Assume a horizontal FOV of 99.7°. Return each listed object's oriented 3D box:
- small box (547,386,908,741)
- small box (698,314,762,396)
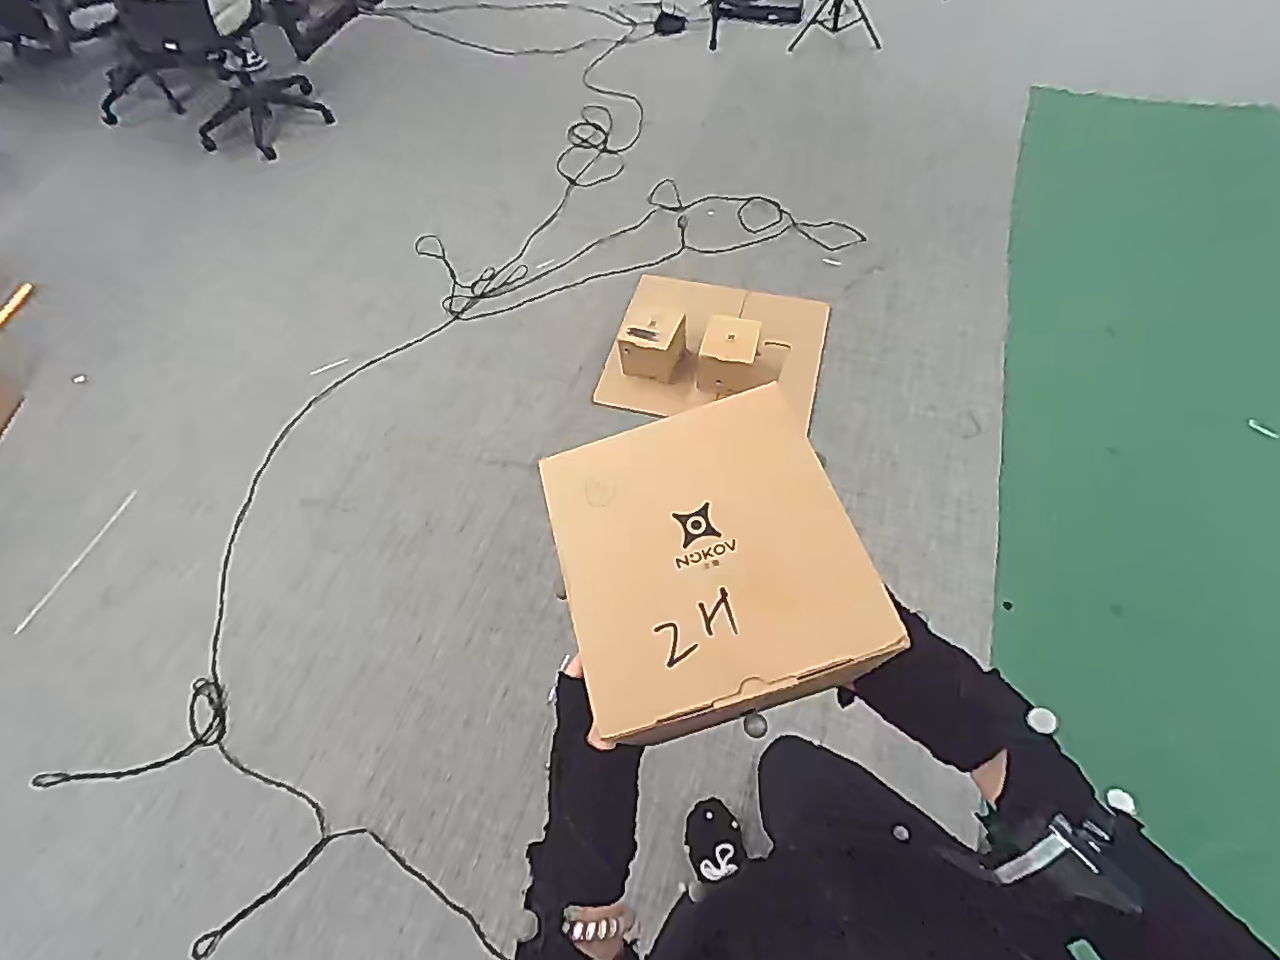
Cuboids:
[{"bbox_3d":[0.049,0.070,0.383,0.168,0.176,0.179,-19,62,2],"label":"small box"},{"bbox_3d":[0.281,-0.394,1.720,0.168,0.176,0.179,12,64,10],"label":"small box"}]
